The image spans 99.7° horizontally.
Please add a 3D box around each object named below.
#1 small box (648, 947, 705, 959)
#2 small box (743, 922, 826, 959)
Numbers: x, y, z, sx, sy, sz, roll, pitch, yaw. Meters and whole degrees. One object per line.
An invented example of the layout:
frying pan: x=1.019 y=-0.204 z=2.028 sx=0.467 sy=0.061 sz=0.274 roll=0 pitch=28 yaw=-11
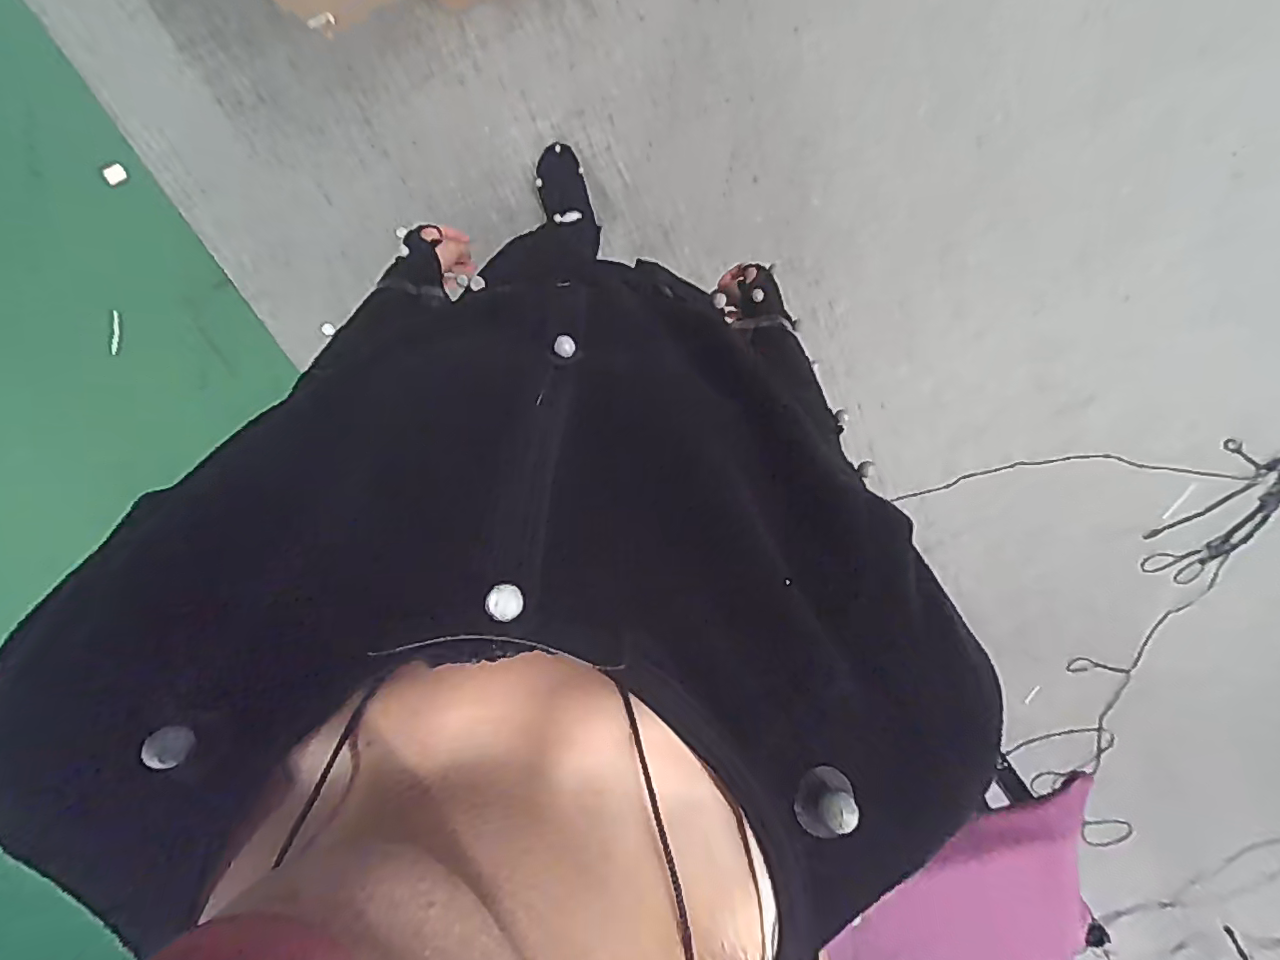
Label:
small box: x=0.095 y=1.329 z=1.361 sx=0.179 sy=0.176 sz=0.168 roll=-26 pitch=115 yaw=9
small box: x=0.376 y=1.238 z=1.333 sx=0.168 sy=0.176 sz=0.179 roll=-28 pitch=115 yaw=10
